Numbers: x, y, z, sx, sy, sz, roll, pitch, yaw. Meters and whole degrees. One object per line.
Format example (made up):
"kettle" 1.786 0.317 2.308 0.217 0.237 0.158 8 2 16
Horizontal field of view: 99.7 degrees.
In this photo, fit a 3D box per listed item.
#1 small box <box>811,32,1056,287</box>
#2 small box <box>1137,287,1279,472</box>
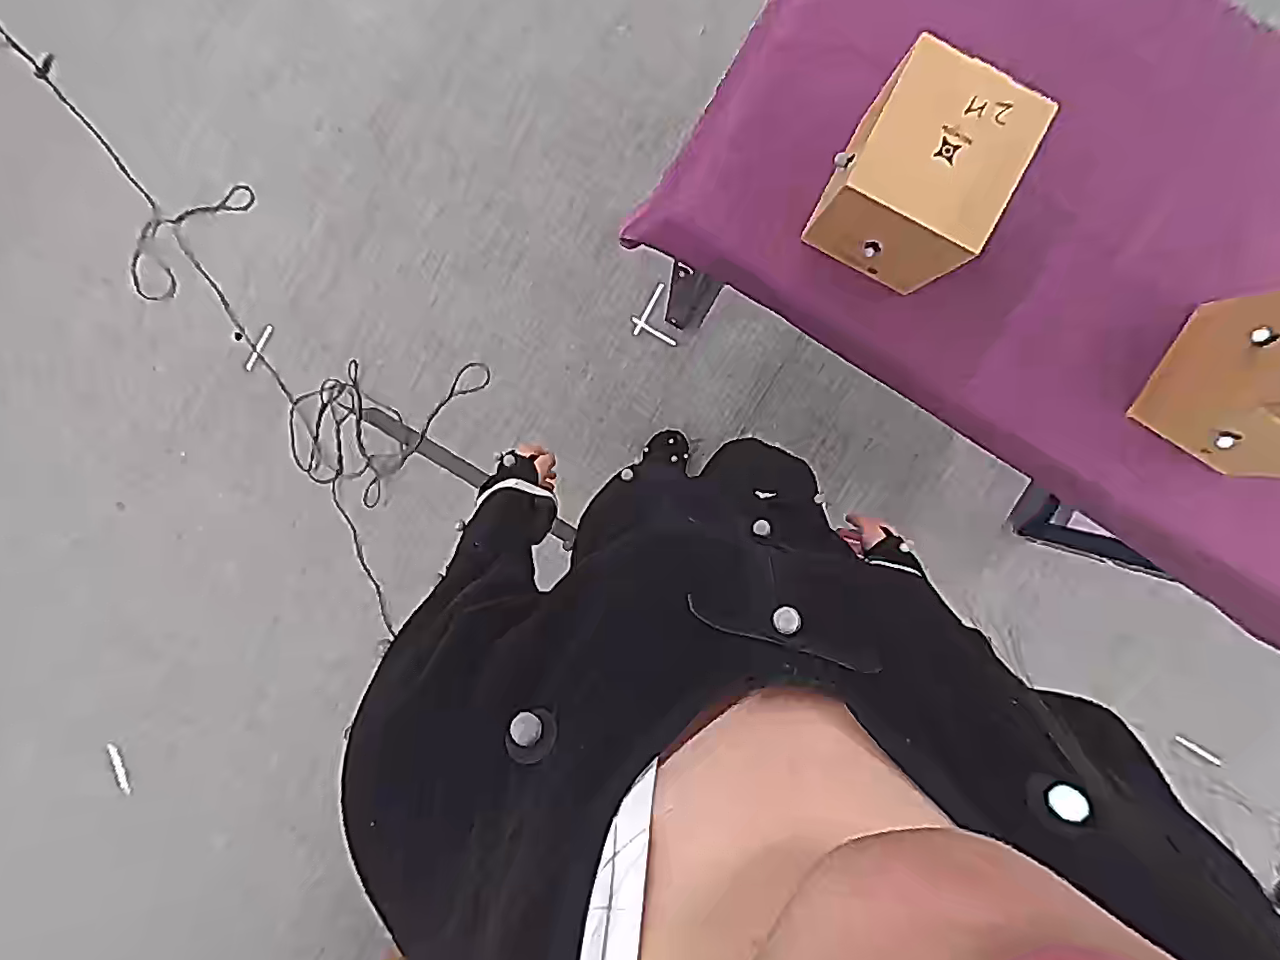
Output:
"small box" 0.329 -0.362 0.651 0.168 0.176 0.179 27 94 -2
"small box" 0.788 -0.119 0.672 0.168 0.176 0.179 31 94 -2
